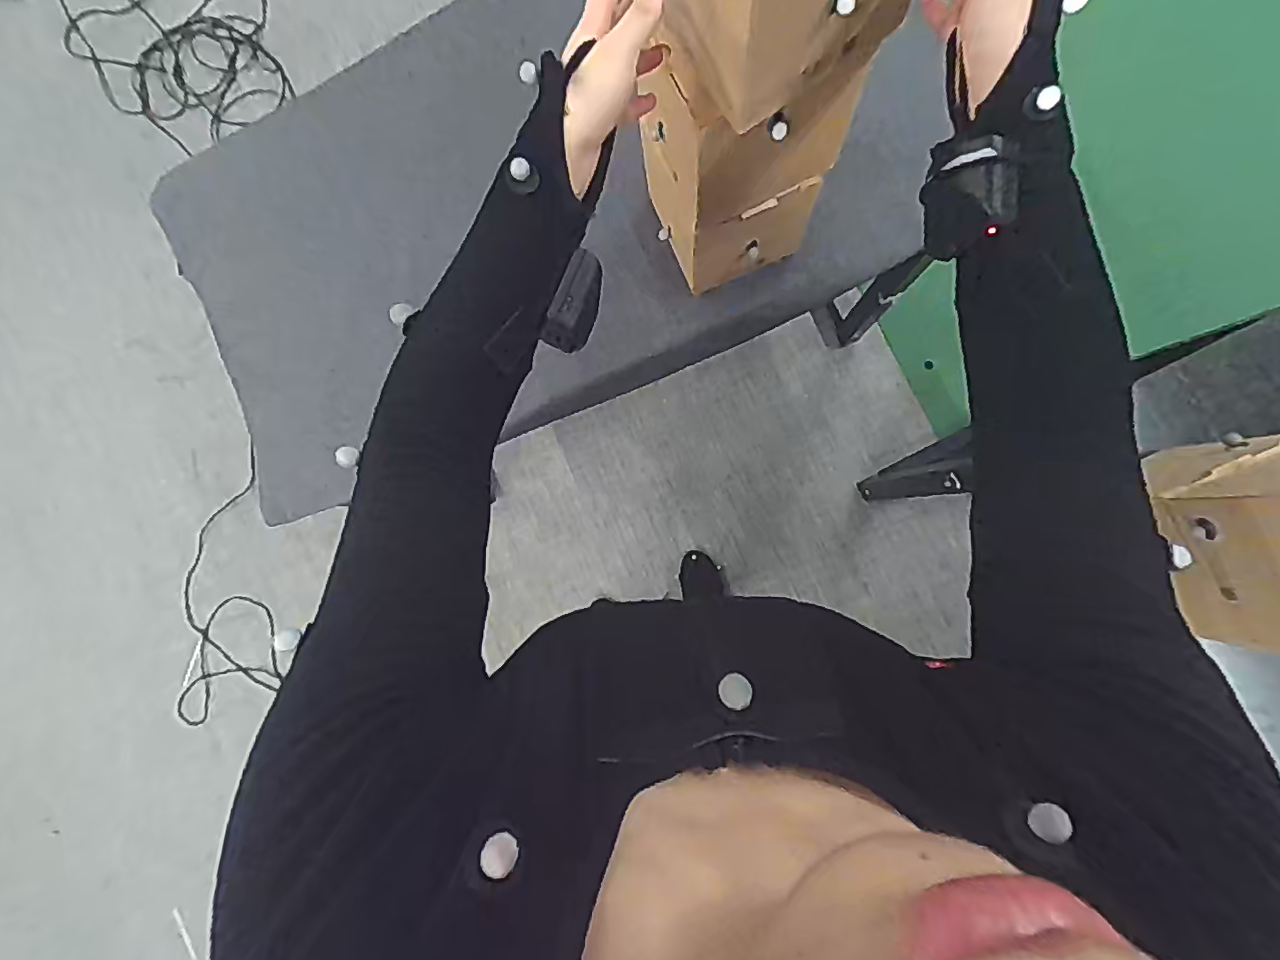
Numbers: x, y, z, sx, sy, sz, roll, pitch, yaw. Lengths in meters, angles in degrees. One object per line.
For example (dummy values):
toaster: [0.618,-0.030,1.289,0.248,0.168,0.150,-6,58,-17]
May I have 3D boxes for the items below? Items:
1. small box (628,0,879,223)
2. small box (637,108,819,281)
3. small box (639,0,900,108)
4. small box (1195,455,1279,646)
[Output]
small box: [0.102,-0.405,0.549,0.179,0.176,0.168,-25,83,5]
small box: [0.111,-0.388,0.711,0.168,0.176,0.179,-23,84,5]
small box: [0.093,-0.414,0.384,0.168,0.176,0.179,-33,82,3]
small box: [0.651,0.055,0.465,0.179,0.176,0.168,-23,86,3]
